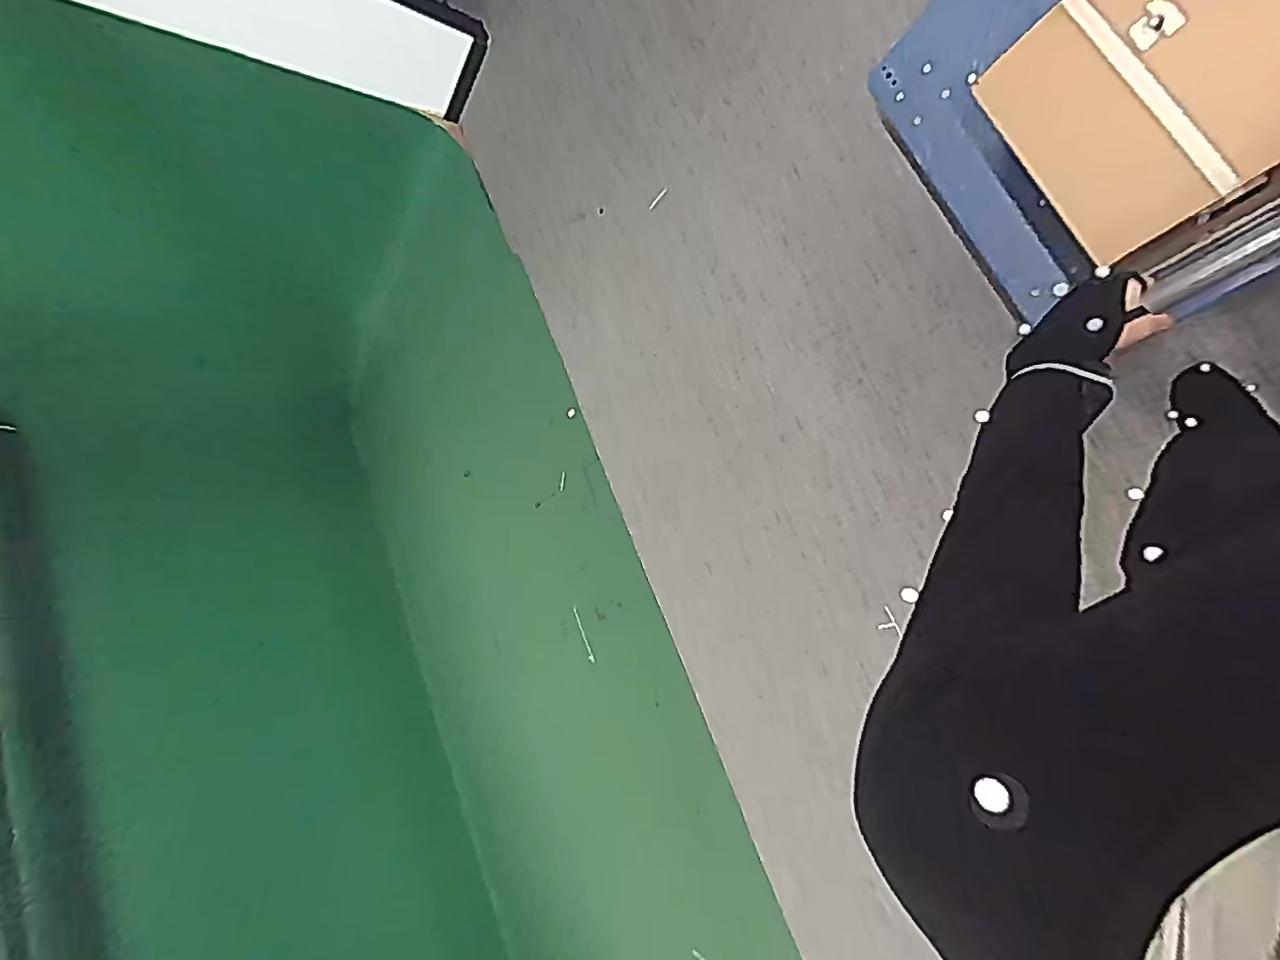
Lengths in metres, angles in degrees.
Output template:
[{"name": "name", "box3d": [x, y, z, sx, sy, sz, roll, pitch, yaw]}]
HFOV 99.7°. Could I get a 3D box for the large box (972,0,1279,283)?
[{"name": "large box", "box3d": [0.859, -0.601, 0.903, 0.320, 0.320, 0.408, -37, 71, 43]}]
